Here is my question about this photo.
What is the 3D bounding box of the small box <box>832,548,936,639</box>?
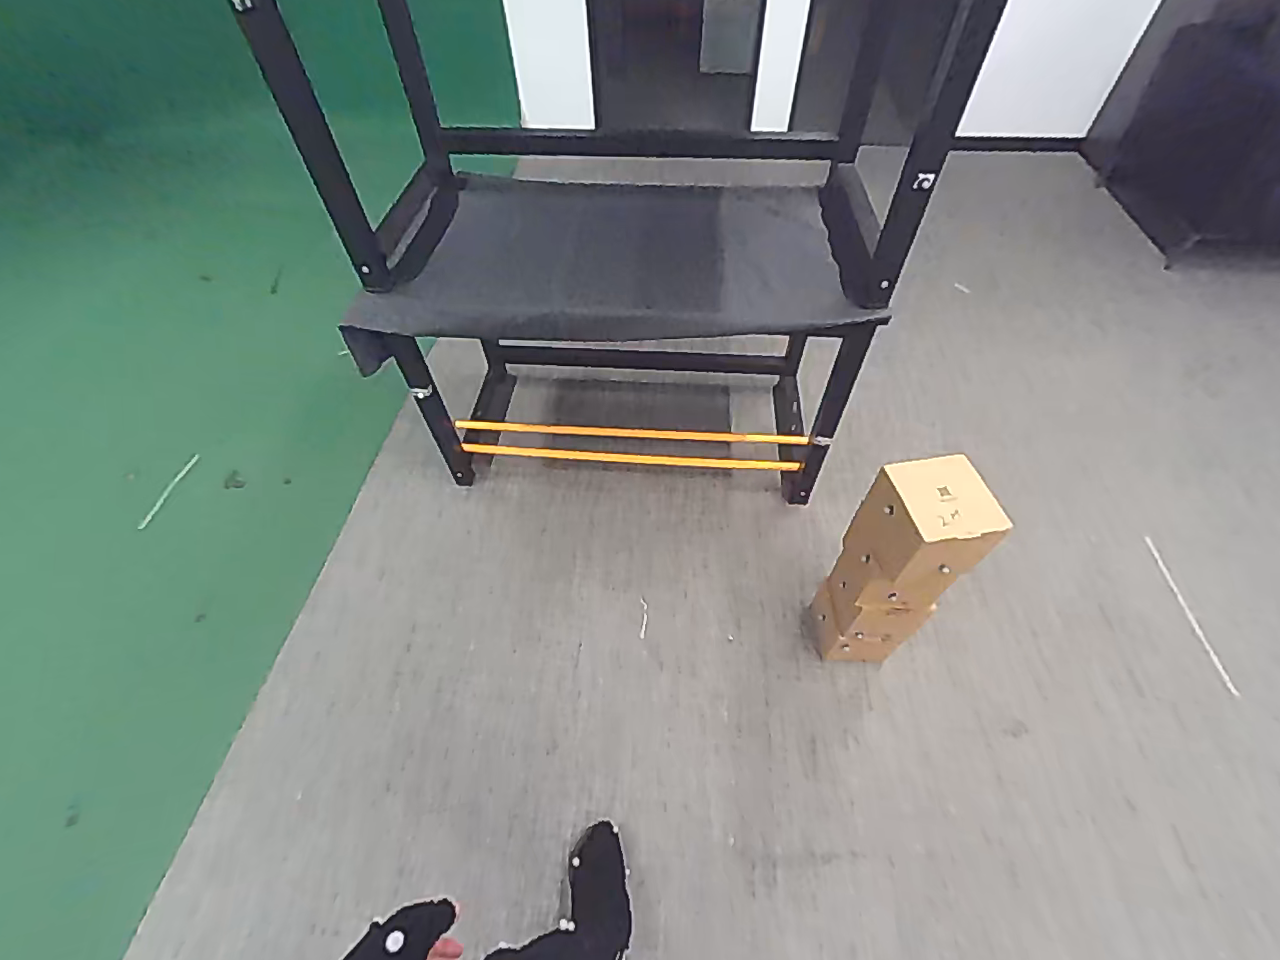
[{"bbox_3d":[0.576,0.272,1.300,0.168,0.176,0.179,1,51,2],"label":"small box"}]

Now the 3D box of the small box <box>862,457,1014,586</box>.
[{"bbox_3d":[0.552,0.081,1.036,0.168,0.176,0.179,-8,53,-4],"label":"small box"}]

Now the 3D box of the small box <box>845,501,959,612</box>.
[{"bbox_3d":[0.559,0.166,1.176,0.168,0.176,0.179,2,52,4],"label":"small box"}]
